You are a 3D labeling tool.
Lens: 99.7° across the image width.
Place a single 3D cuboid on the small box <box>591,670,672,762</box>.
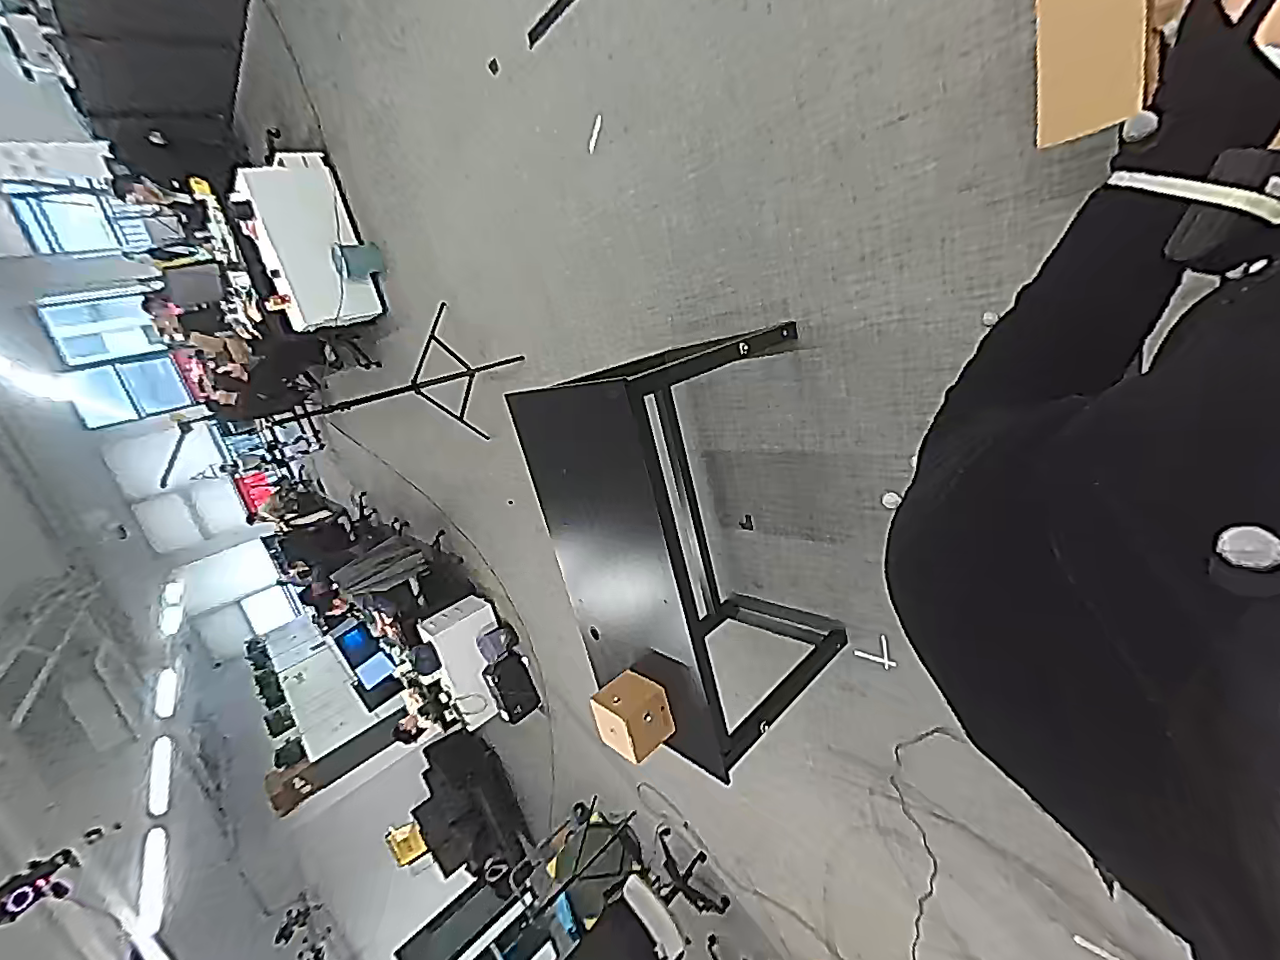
[{"bbox_3d":[-0.019,0.718,1.670,0.179,0.176,0.168,5,114,51],"label":"small box"}]
